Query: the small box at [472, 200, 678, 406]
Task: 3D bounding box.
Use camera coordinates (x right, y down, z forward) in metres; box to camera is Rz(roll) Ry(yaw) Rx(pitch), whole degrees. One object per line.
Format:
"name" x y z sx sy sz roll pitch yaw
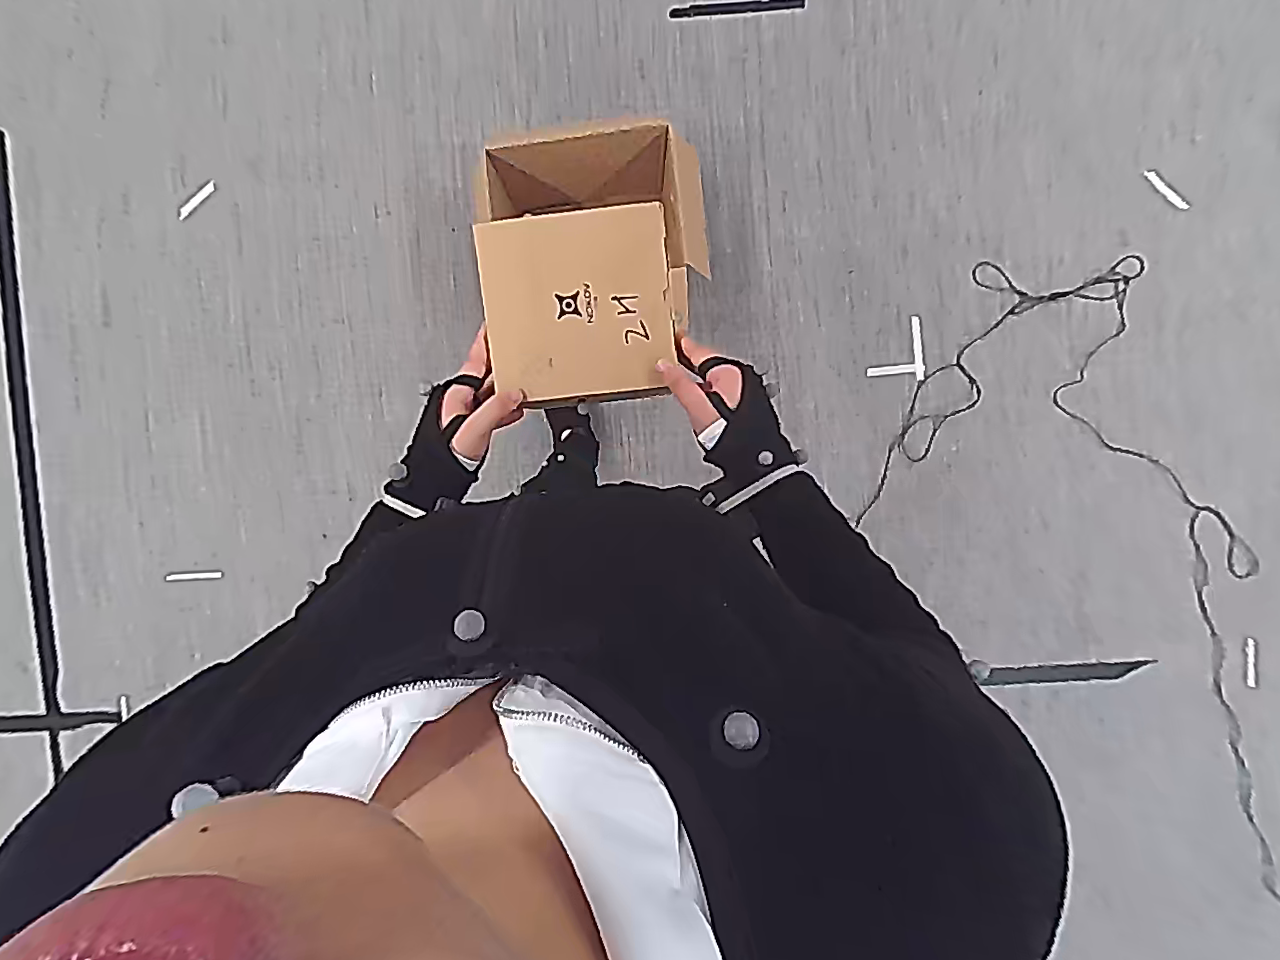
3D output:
"small box" -0.056 -0.168 0.568 0.179 0.176 0.168 -6 97 1
